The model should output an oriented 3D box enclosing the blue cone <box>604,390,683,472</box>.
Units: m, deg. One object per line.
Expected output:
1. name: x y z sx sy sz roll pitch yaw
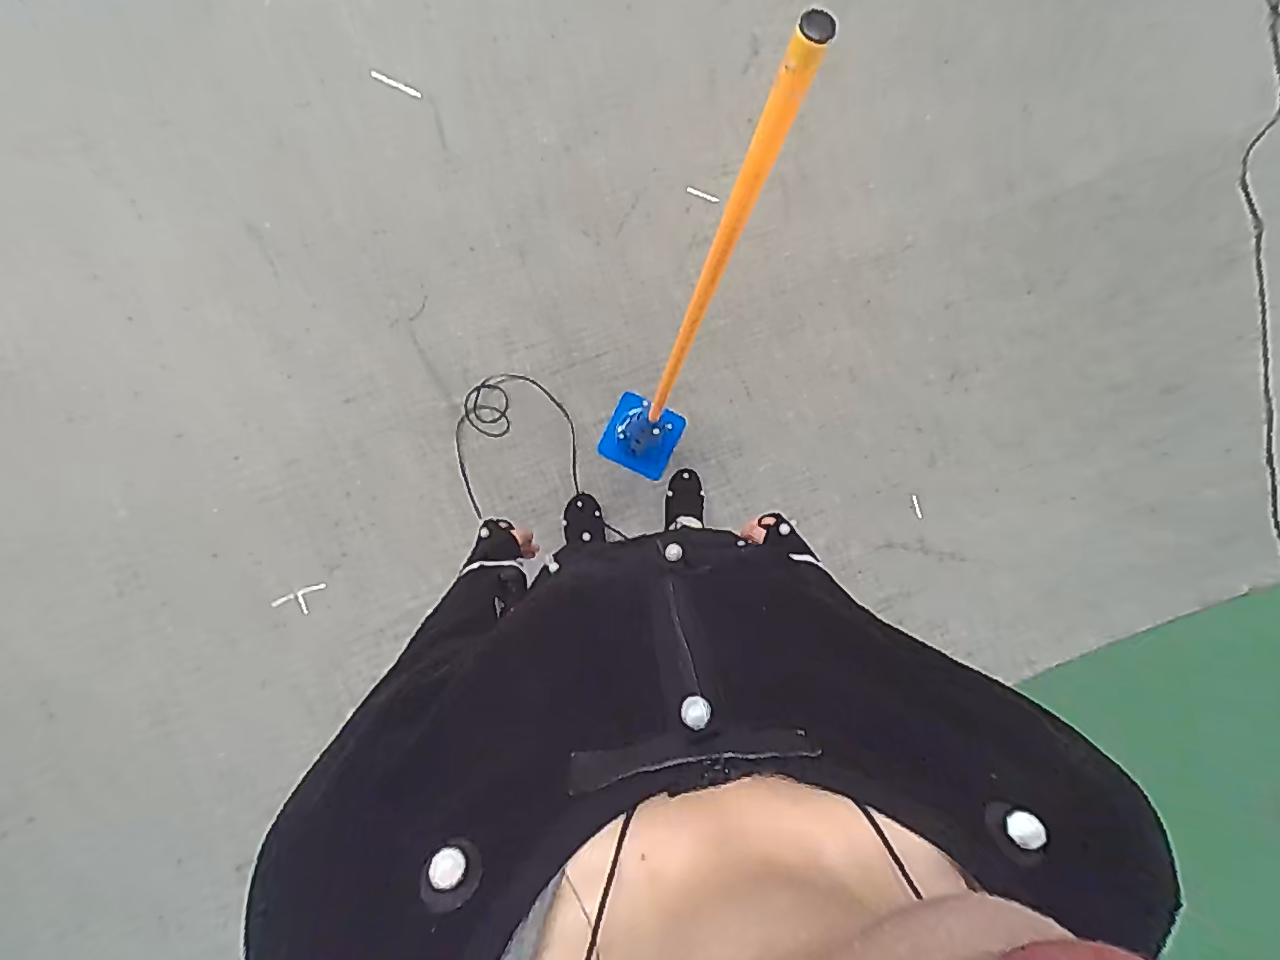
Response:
1. blue cone: 0.022 -0.144 1.328 0.192 0.380 0.193 24 86 -3
